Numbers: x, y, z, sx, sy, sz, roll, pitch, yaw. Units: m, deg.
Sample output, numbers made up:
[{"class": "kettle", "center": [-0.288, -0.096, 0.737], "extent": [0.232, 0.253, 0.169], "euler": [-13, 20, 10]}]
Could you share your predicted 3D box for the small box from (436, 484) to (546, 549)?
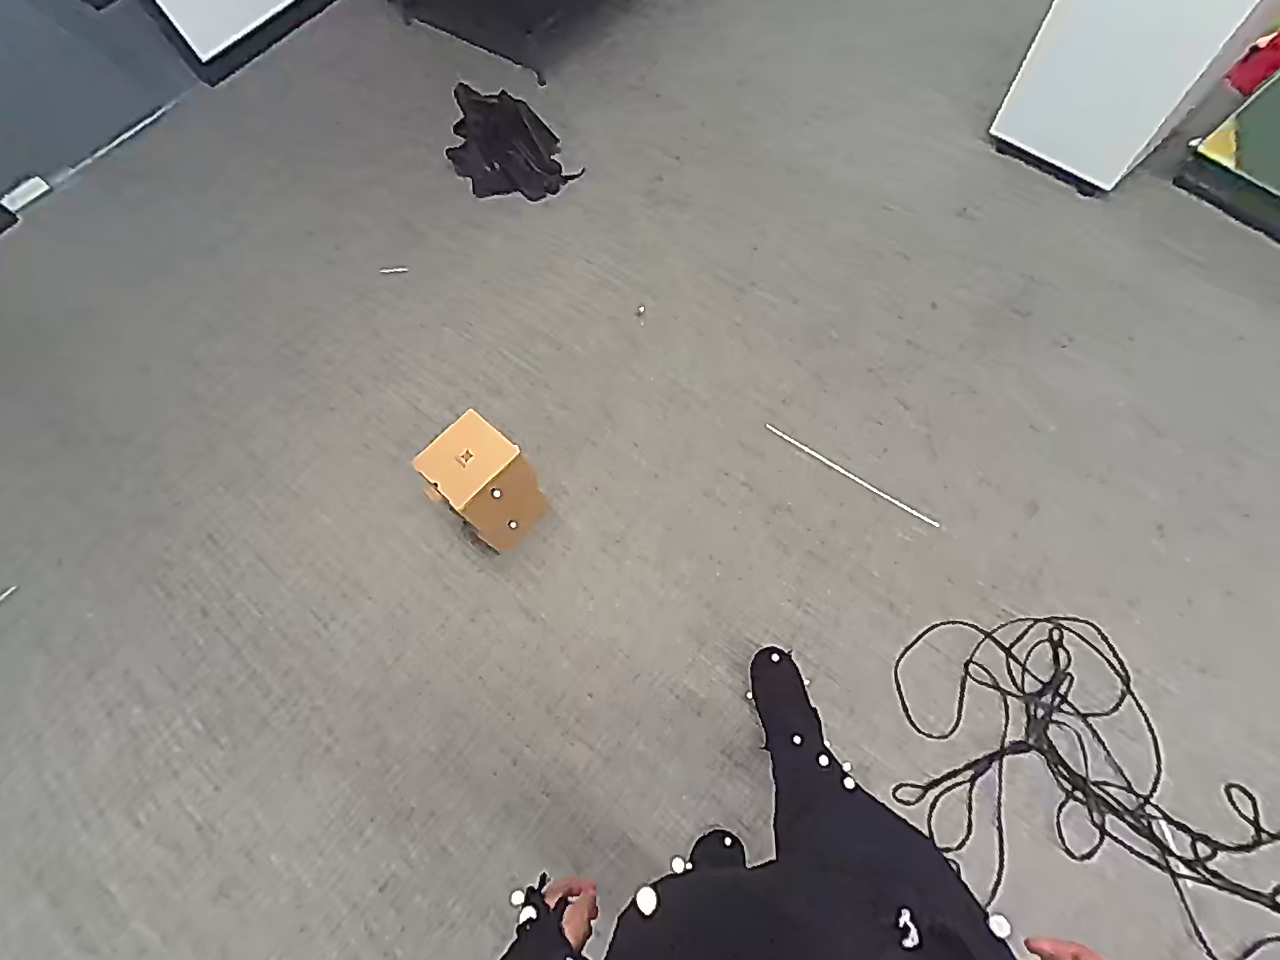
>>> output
[{"class": "small box", "center": [-0.359, 0.047, 1.343], "extent": [0.168, 0.176, 0.179], "euler": [39, 77, 19]}]

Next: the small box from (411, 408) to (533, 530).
[{"class": "small box", "center": [-0.356, -0.019, 1.192], "extent": [0.168, 0.176, 0.179], "euler": [39, 76, 18]}]
